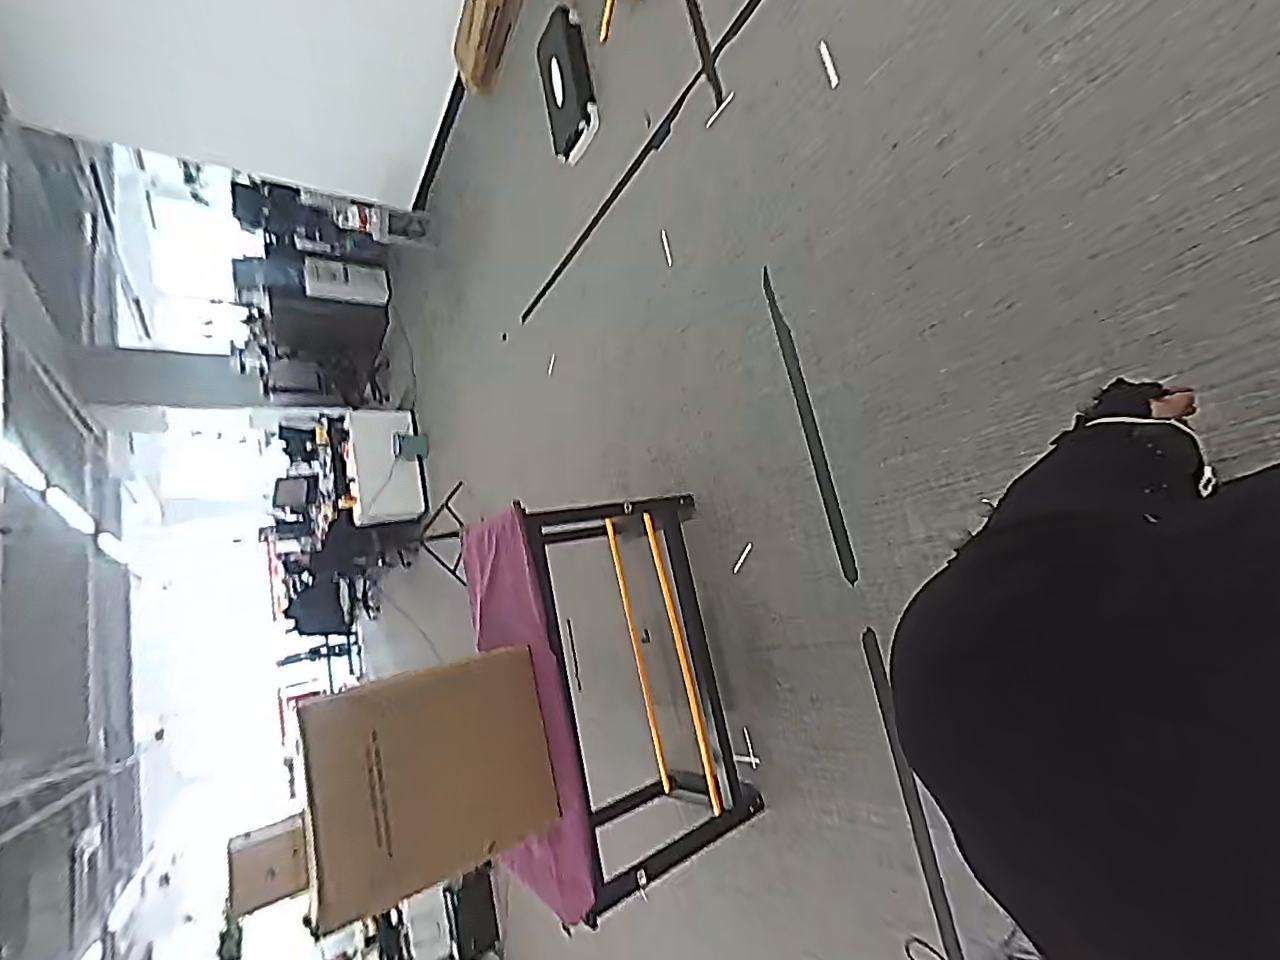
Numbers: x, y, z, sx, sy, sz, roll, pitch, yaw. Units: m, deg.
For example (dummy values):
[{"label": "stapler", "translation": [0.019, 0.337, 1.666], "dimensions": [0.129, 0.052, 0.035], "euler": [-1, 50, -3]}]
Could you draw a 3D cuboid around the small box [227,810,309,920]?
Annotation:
[{"label": "small box", "translation": [-0.991, 1.014, 1.445], "dimensions": [0.179, 0.176, 0.168], "euler": [-25, 73, 52]}]
